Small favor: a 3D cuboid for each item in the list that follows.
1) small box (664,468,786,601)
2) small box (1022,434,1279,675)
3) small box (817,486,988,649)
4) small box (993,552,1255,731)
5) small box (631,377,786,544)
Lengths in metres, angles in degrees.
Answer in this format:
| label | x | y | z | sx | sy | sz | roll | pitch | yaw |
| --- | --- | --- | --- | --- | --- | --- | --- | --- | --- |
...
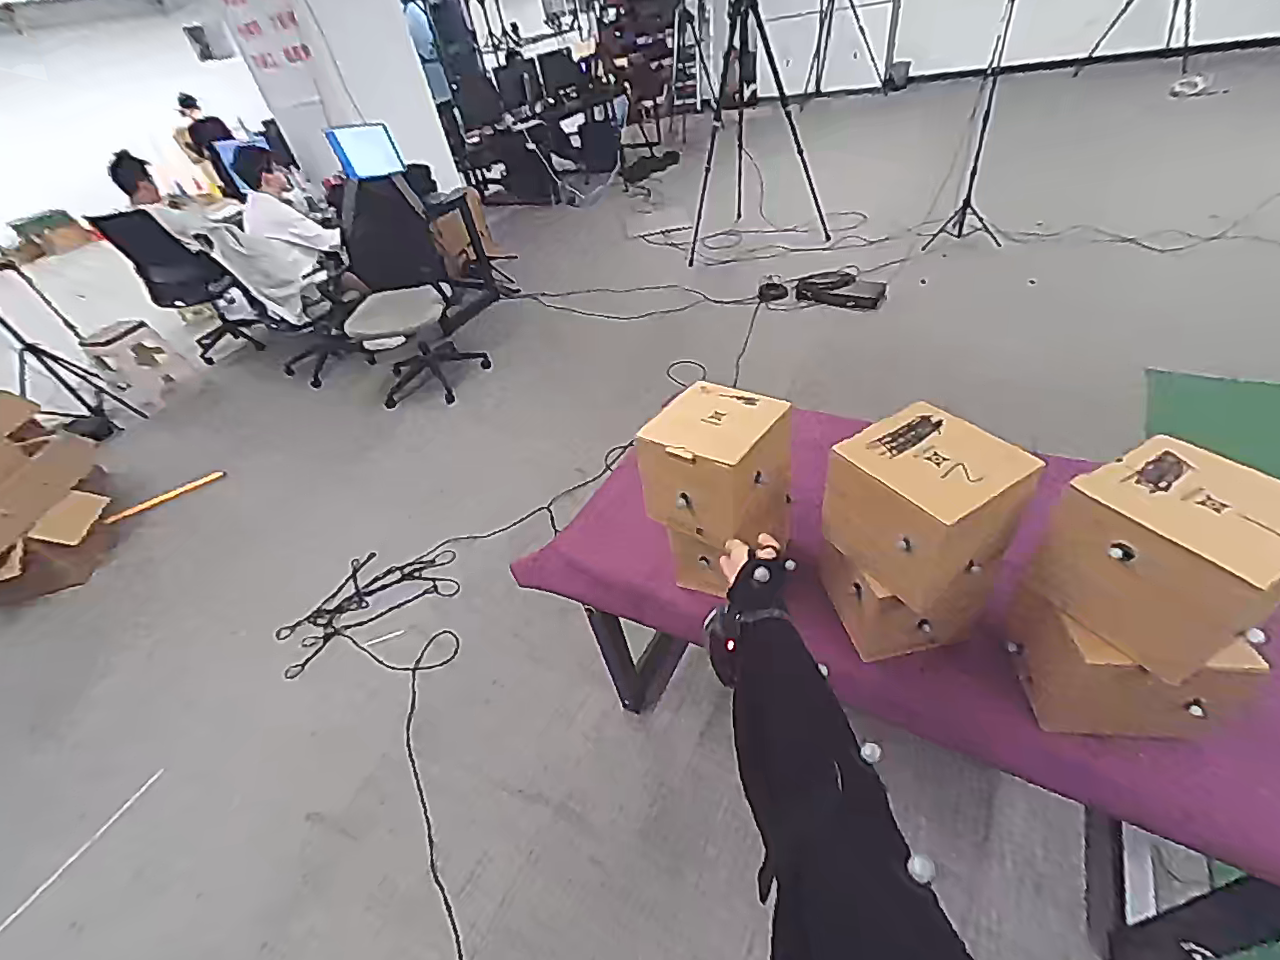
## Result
| label | x | y | z | sx | sy | sz | roll | pitch | yaw |
| --- | --- | --- | --- | --- | --- | --- | --- | --- | --- |
| small box | 0.156 | 0.085 | 0.950 | 0.168 | 0.176 | 0.179 | 10 | 44 | 22 |
| small box | 0.586 | 0.081 | 0.612 | 0.168 | 0.176 | 0.179 | -22 | 42 | -15 |
| small box | 0.387 | 0.140 | 0.834 | 0.168 | 0.176 | 0.179 | -12 | 41 | -1 |
| small box | 0.605 | 0.211 | 0.710 | 0.179 | 0.176 | 0.168 | -2 | 41 | 11 |
| small box | 0.113 | -0.031 | 0.839 | 0.168 | 0.176 | 0.179 | 23 | 52 | 32 |
